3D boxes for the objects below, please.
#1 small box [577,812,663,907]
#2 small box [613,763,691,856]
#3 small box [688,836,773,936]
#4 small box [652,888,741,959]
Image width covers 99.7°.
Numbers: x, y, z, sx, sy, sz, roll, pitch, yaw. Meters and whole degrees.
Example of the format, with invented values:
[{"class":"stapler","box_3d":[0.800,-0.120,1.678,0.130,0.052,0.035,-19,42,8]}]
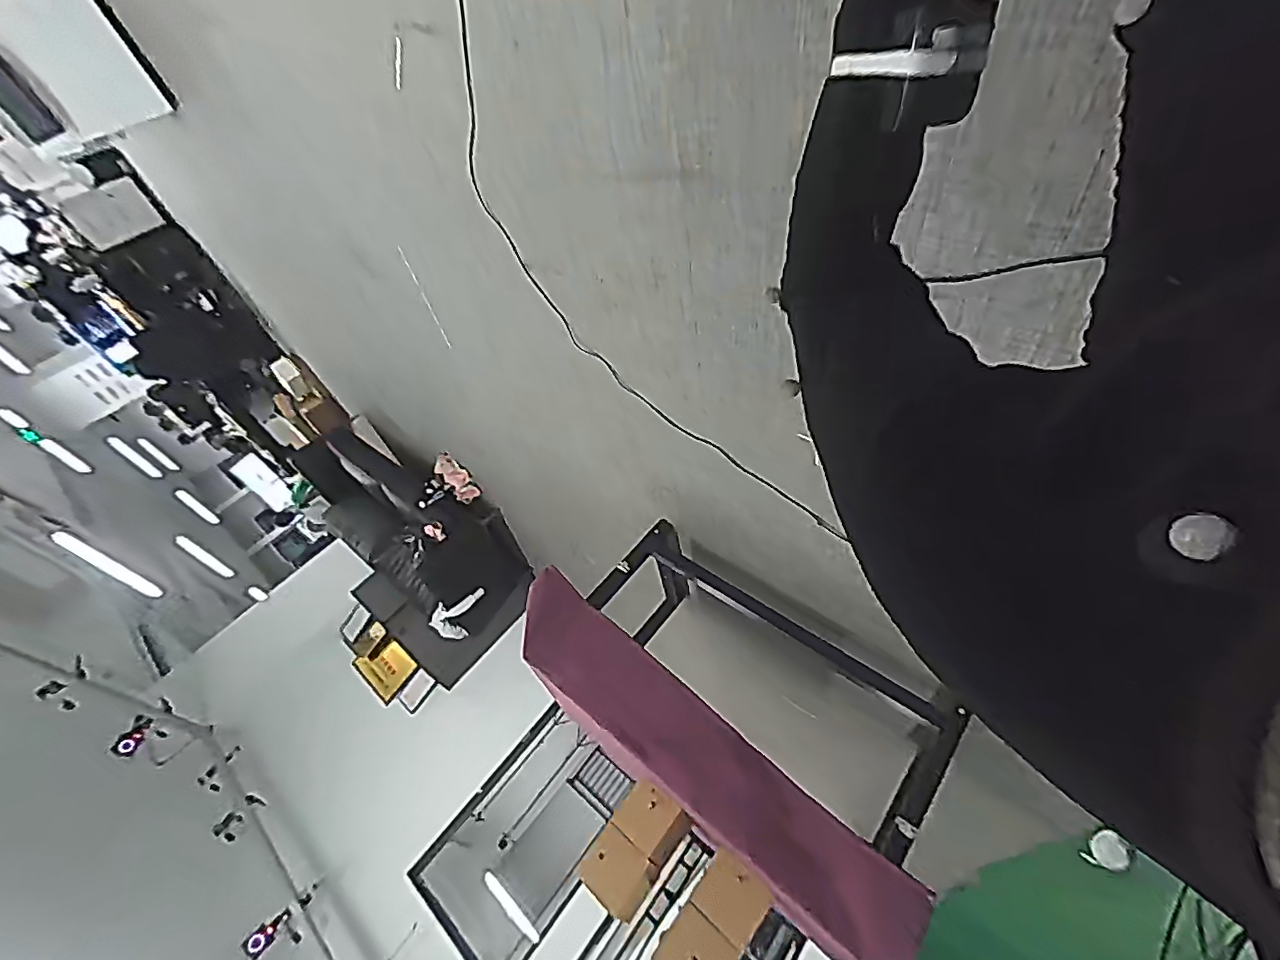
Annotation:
[{"class":"small box","box_3d":[-0.058,1.158,1.664,0.179,0.176,0.168,25,150,36]},{"class":"small box","box_3d":[0.046,1.053,1.735,0.168,0.176,0.179,24,148,37]},{"class":"small box","box_3d":[0.267,1.170,1.571,0.179,0.176,0.168,28,151,33]},{"class":"small box","box_3d":[0.160,1.277,1.504,0.179,0.176,0.168,27,150,33]}]
